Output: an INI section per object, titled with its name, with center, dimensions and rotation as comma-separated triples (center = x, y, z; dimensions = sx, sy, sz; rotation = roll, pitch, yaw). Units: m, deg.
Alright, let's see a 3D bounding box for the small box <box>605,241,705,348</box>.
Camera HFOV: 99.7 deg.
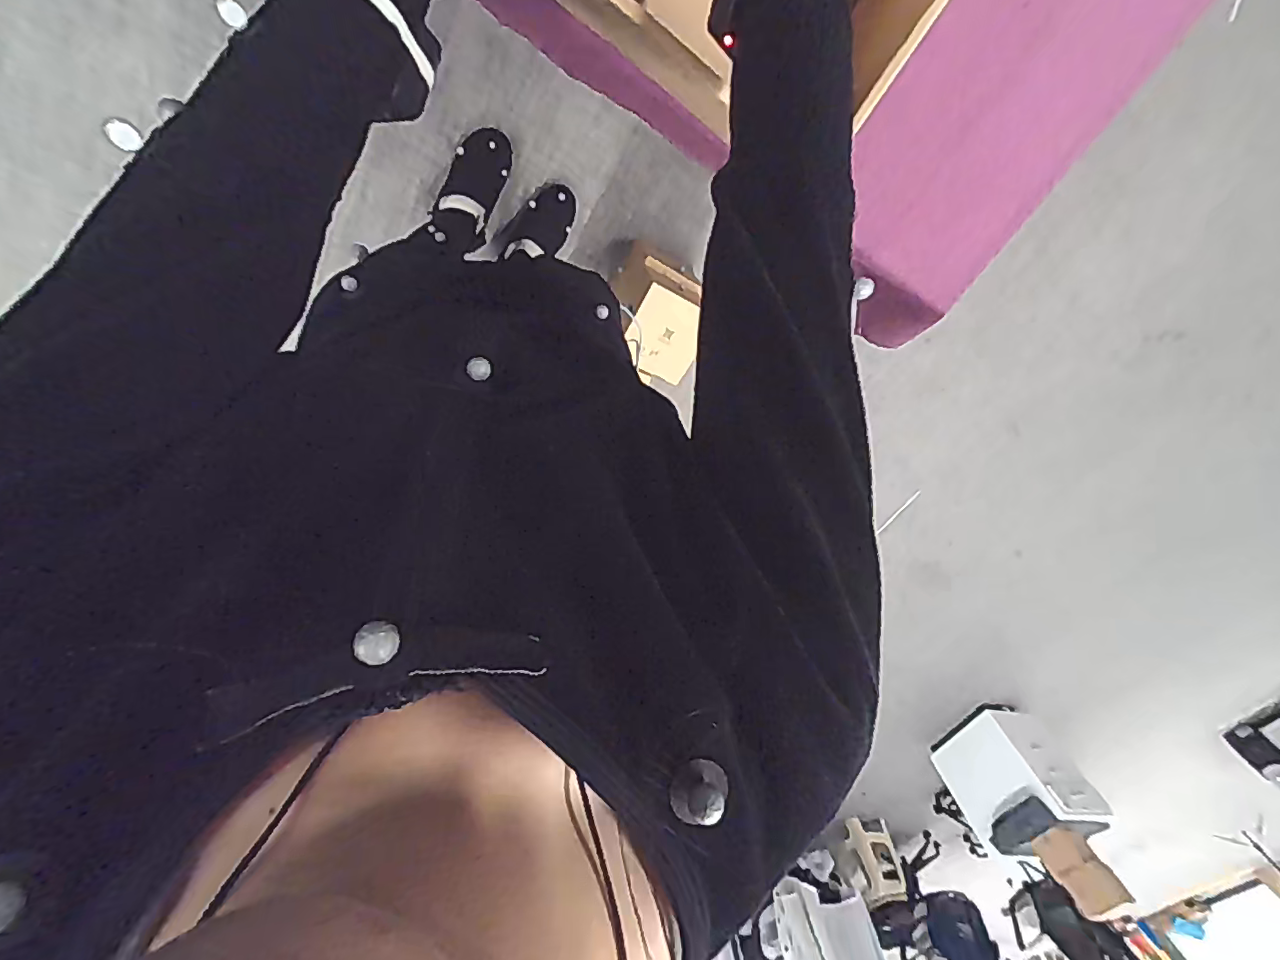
[small box]
center = 0.030, -0.462, 1.332
dimensions = 0.179, 0.176, 0.168
rotation = 22, 118, -24
